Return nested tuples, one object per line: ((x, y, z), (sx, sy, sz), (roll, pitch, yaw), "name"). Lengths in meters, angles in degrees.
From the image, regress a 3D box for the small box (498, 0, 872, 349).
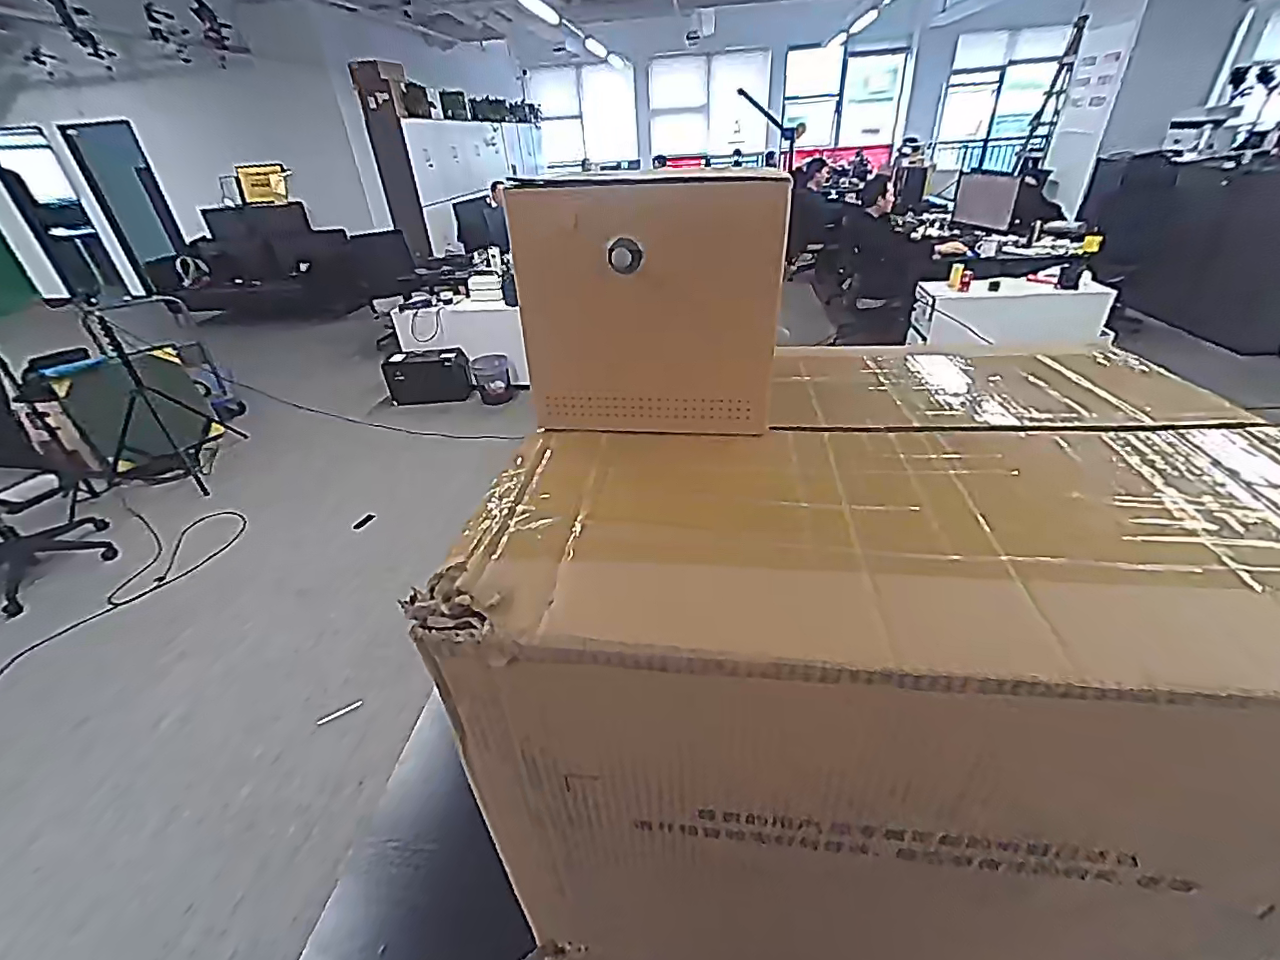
((0.031, -0.189, 0.349), (0.179, 0.176, 0.168), (3, 31, 7), "small box")
